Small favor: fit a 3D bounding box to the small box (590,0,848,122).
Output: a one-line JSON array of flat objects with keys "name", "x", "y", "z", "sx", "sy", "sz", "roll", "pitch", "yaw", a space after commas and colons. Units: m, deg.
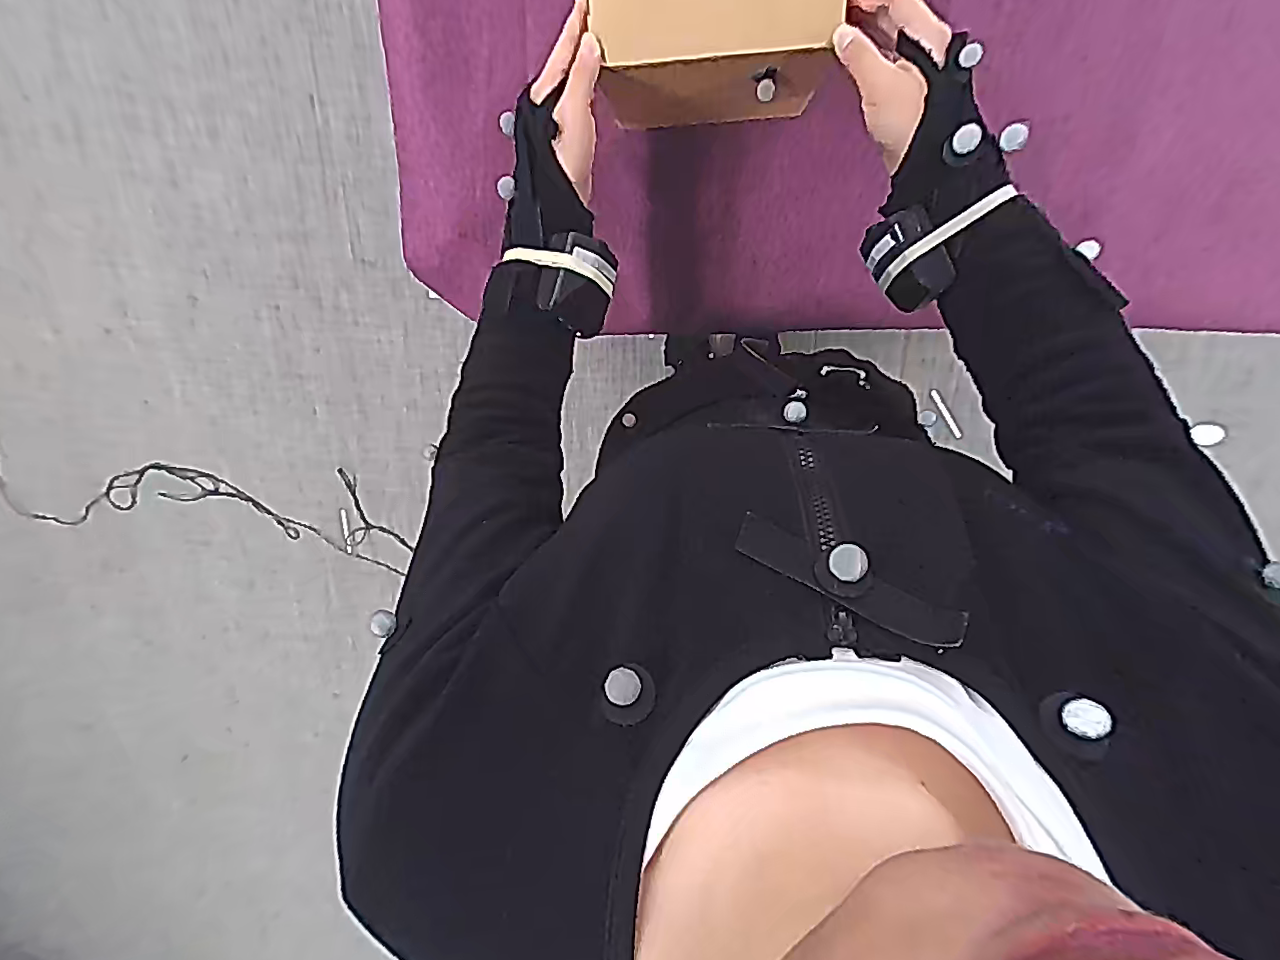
[{"name": "small box", "x": 0.057, "y": -0.398, "z": 0.420, "sx": 0.179, "sy": 0.176, "sz": 0.168, "roll": 0, "pitch": 110, "yaw": 6}]
